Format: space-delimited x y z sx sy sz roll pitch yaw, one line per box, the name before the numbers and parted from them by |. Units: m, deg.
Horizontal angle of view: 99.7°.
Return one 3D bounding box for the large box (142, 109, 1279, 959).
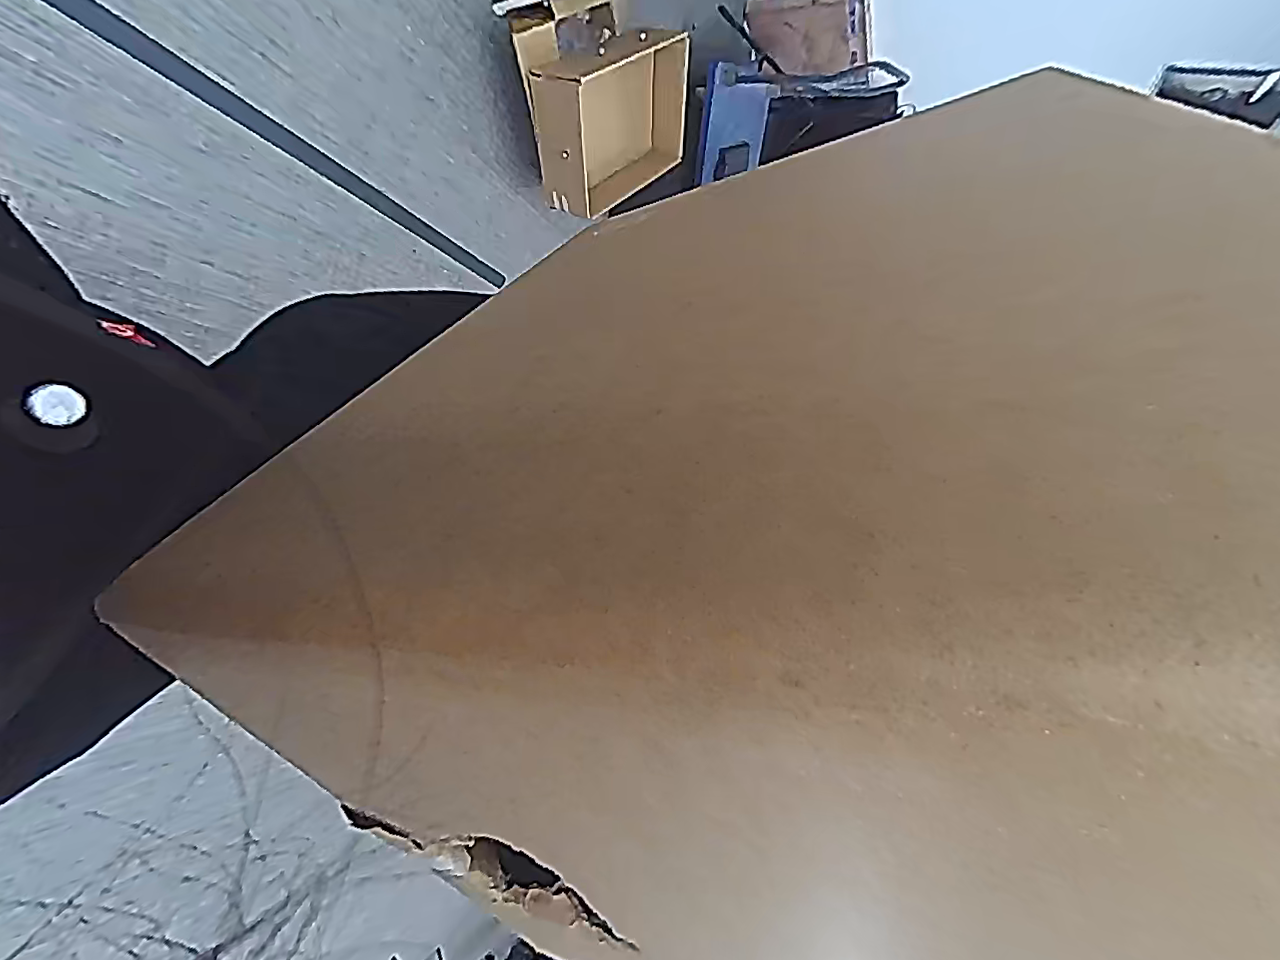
large box | 0.082 0.024 0.324 0.408 0.320 0.320 -62 140 -46
